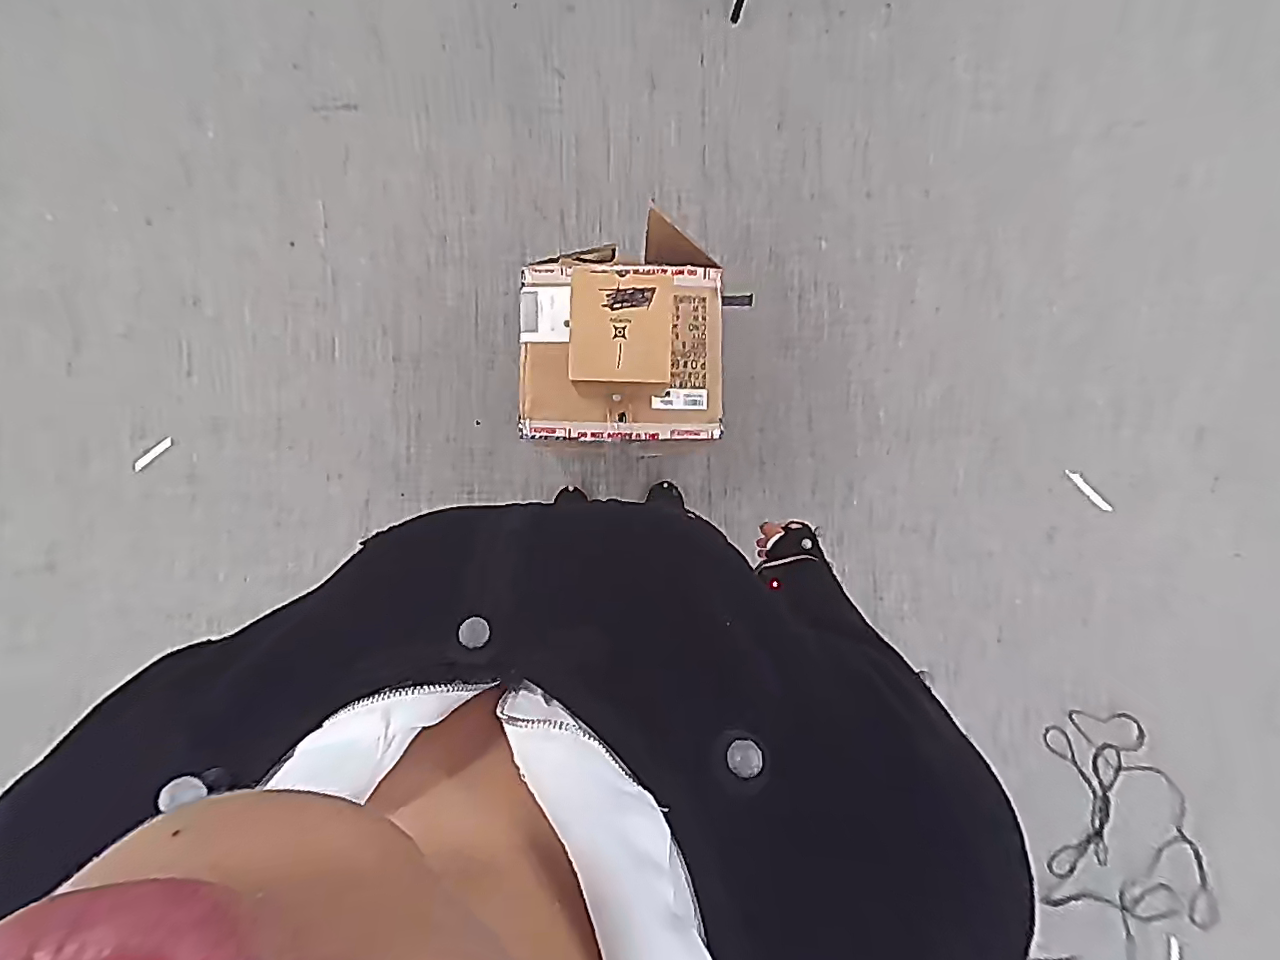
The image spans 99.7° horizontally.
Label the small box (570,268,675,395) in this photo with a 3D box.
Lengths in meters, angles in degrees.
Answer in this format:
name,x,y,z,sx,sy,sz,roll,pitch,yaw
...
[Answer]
name,x,y,z,sx,sy,sz,roll,pitch,yaw
small box,-0.031,-0.250,0.944,0.168,0.176,0.179,2,92,-1
